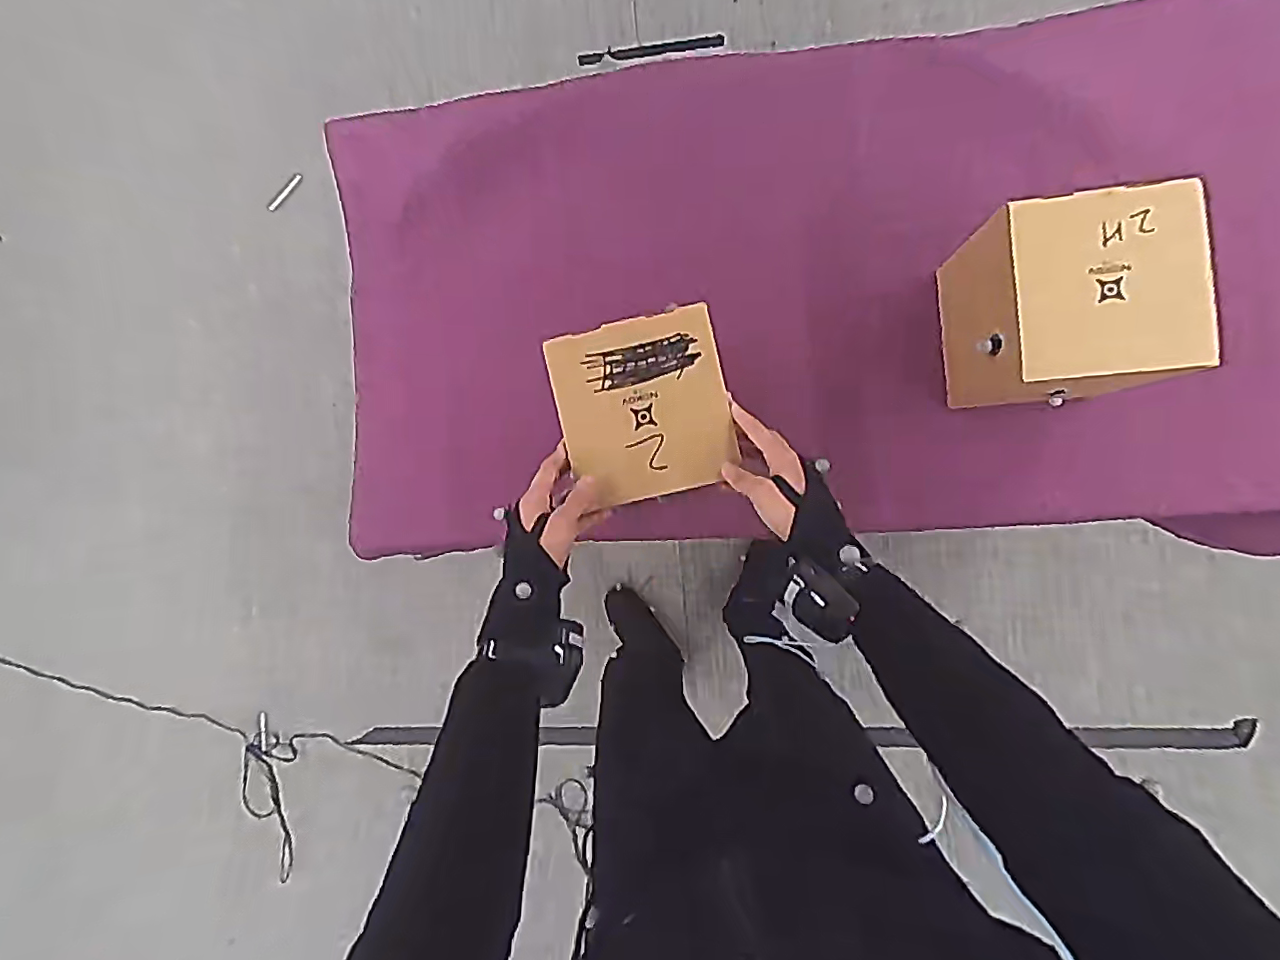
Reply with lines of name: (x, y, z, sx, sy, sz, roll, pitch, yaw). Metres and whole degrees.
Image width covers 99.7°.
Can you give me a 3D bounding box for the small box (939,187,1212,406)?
small box: (0.444, -0.177, 0.581, 0.168, 0.176, 0.179, -4, 89, 7)
